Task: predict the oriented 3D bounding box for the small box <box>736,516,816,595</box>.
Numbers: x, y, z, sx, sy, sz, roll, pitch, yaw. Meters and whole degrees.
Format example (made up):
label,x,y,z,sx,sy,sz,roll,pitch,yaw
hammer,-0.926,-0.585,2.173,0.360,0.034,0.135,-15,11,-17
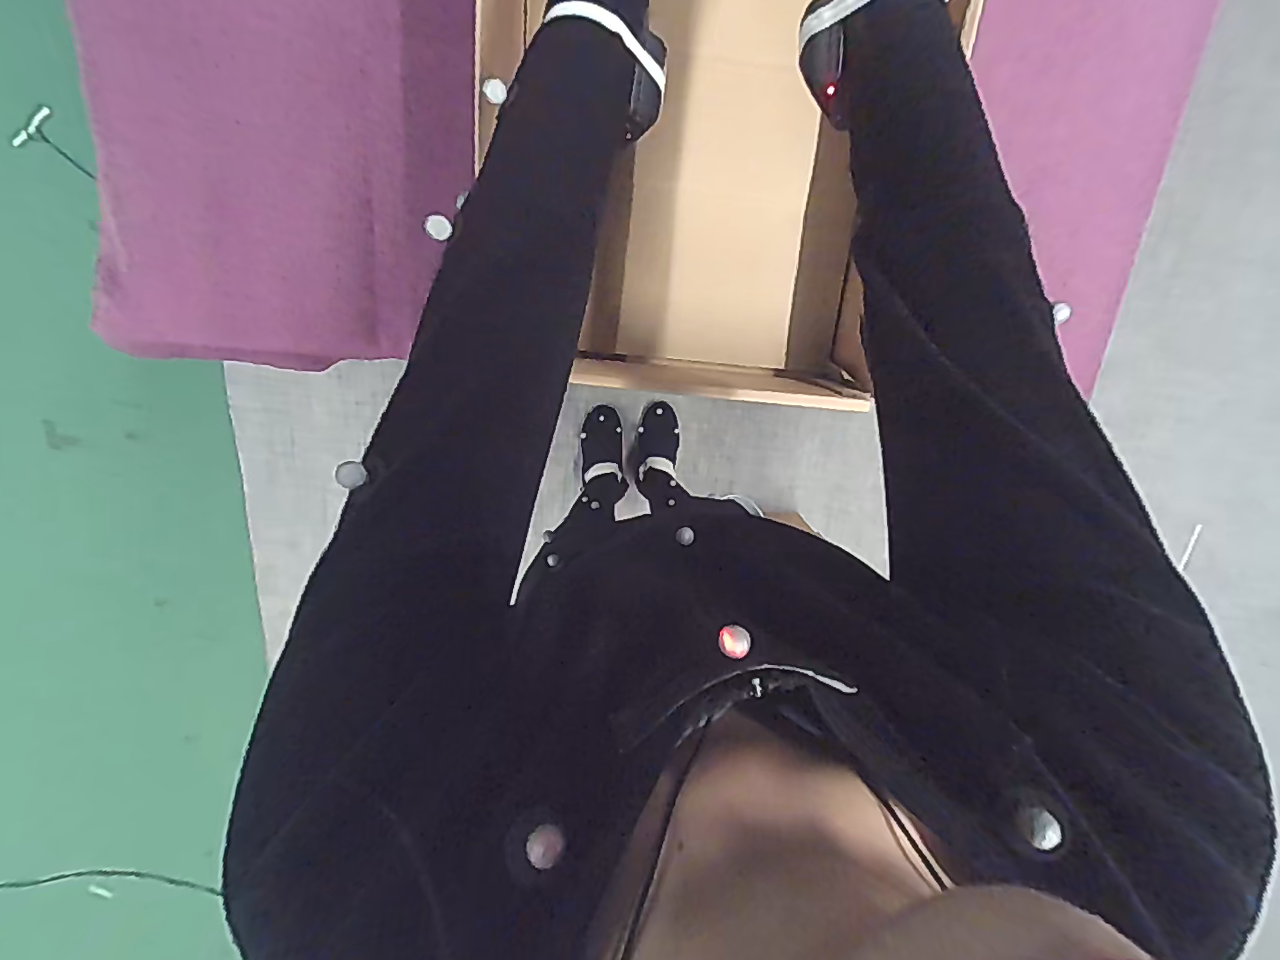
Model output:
label,x,y,z,sx,sy,sz,roll,pitch,yaw
small box,0.367,0.203,1.493,0.179,0.176,0.168,-1,107,-2
